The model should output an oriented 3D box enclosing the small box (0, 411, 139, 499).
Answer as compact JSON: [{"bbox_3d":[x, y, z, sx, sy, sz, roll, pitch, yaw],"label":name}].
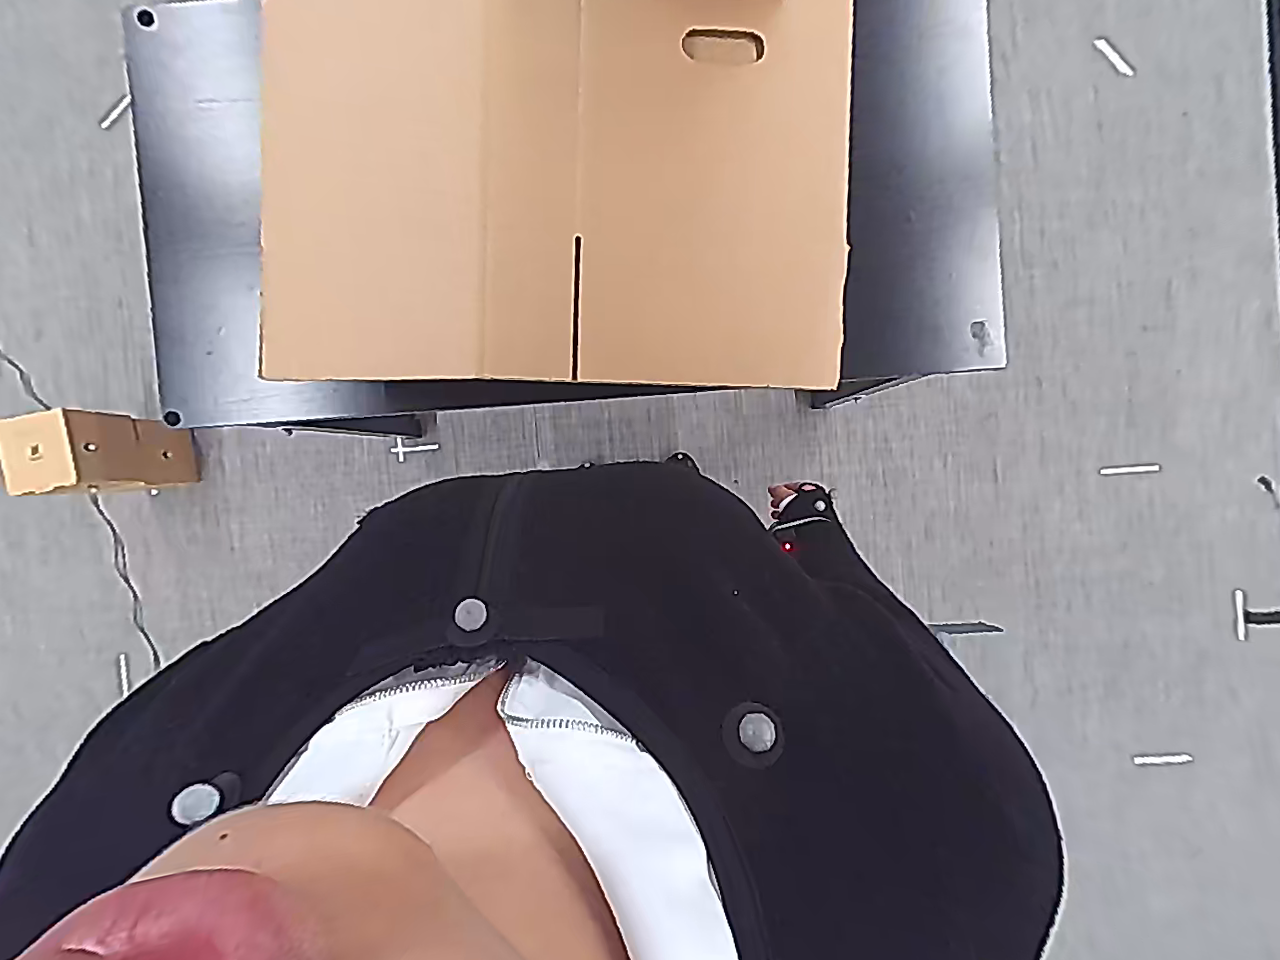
[{"bbox_3d":[-1.354,-0.059,1.289,0.168,0.176,0.179,-11,90,1],"label":"small box"}]

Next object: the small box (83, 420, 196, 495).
[{"bbox_3d":[-1.347,-0.057,1.451,0.168,0.176,0.179,-8,92,2],"label":"small box"}]
